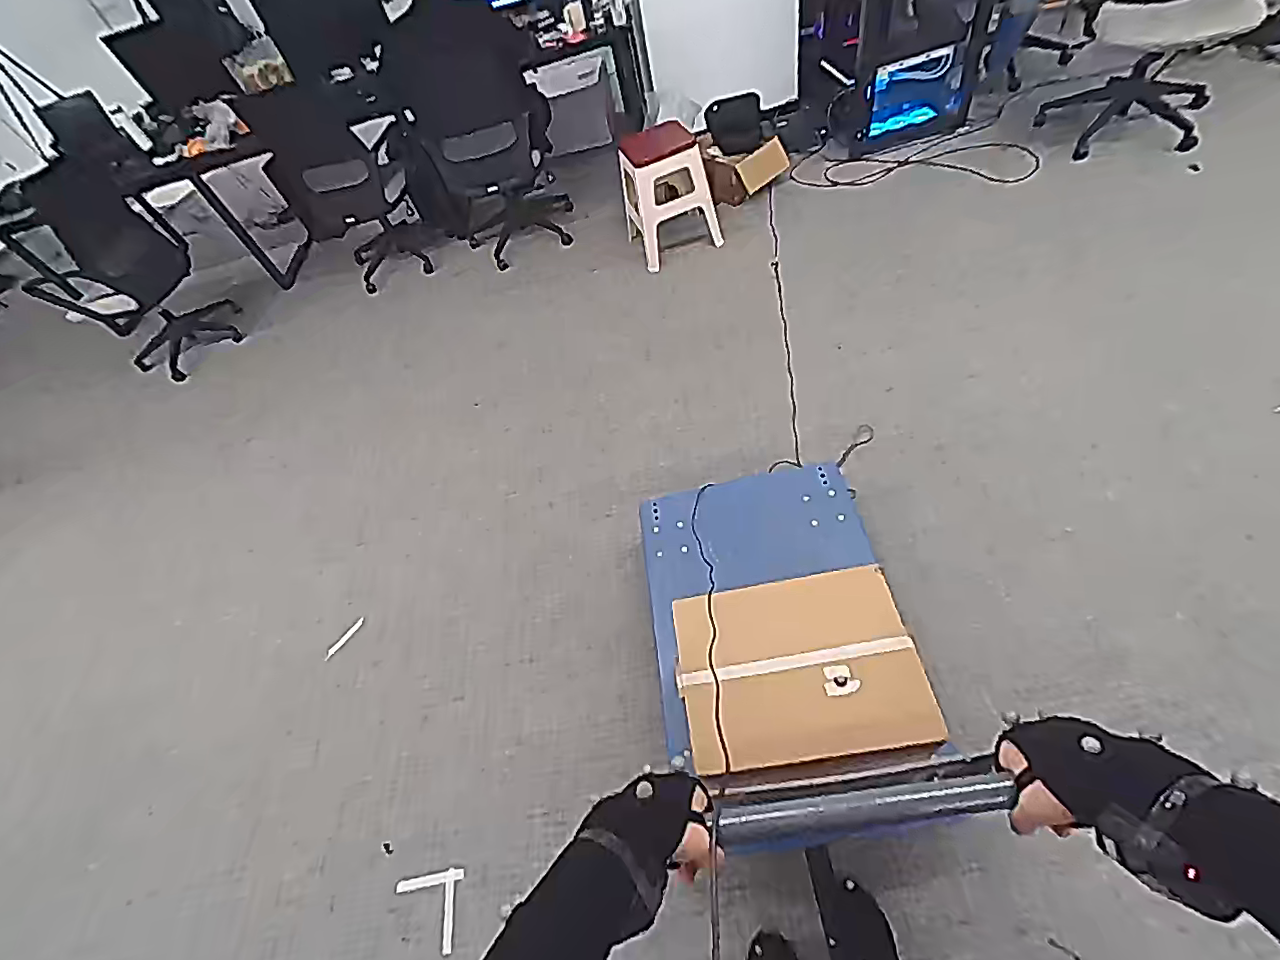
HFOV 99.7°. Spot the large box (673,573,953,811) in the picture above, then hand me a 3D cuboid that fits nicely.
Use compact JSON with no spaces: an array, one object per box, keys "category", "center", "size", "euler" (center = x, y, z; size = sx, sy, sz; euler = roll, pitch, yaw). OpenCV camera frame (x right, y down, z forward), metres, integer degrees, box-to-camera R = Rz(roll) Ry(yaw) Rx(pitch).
[{"category":"large box","center":[0.300,0.420,1.047],"size":[0.408,0.320,0.320],"euler":[-12,52,6]}]
